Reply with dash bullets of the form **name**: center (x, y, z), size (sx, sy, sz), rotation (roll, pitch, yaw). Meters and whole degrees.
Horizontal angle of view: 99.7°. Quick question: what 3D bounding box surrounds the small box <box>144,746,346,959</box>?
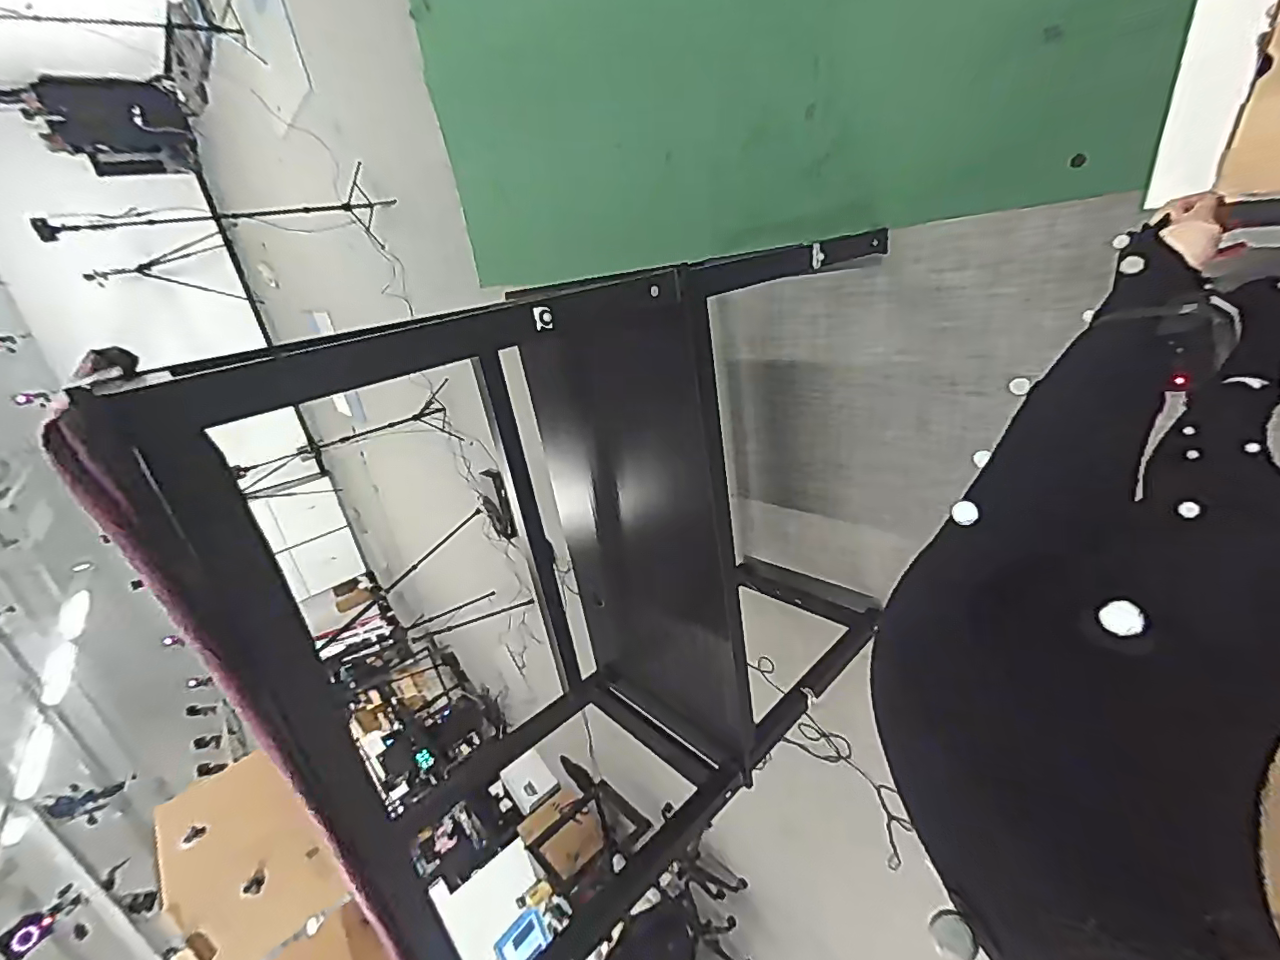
- **small box**: center (-0.520, 0.504, 0.727), size (0.179, 0.176, 0.168), rotation (19, 124, 46)
